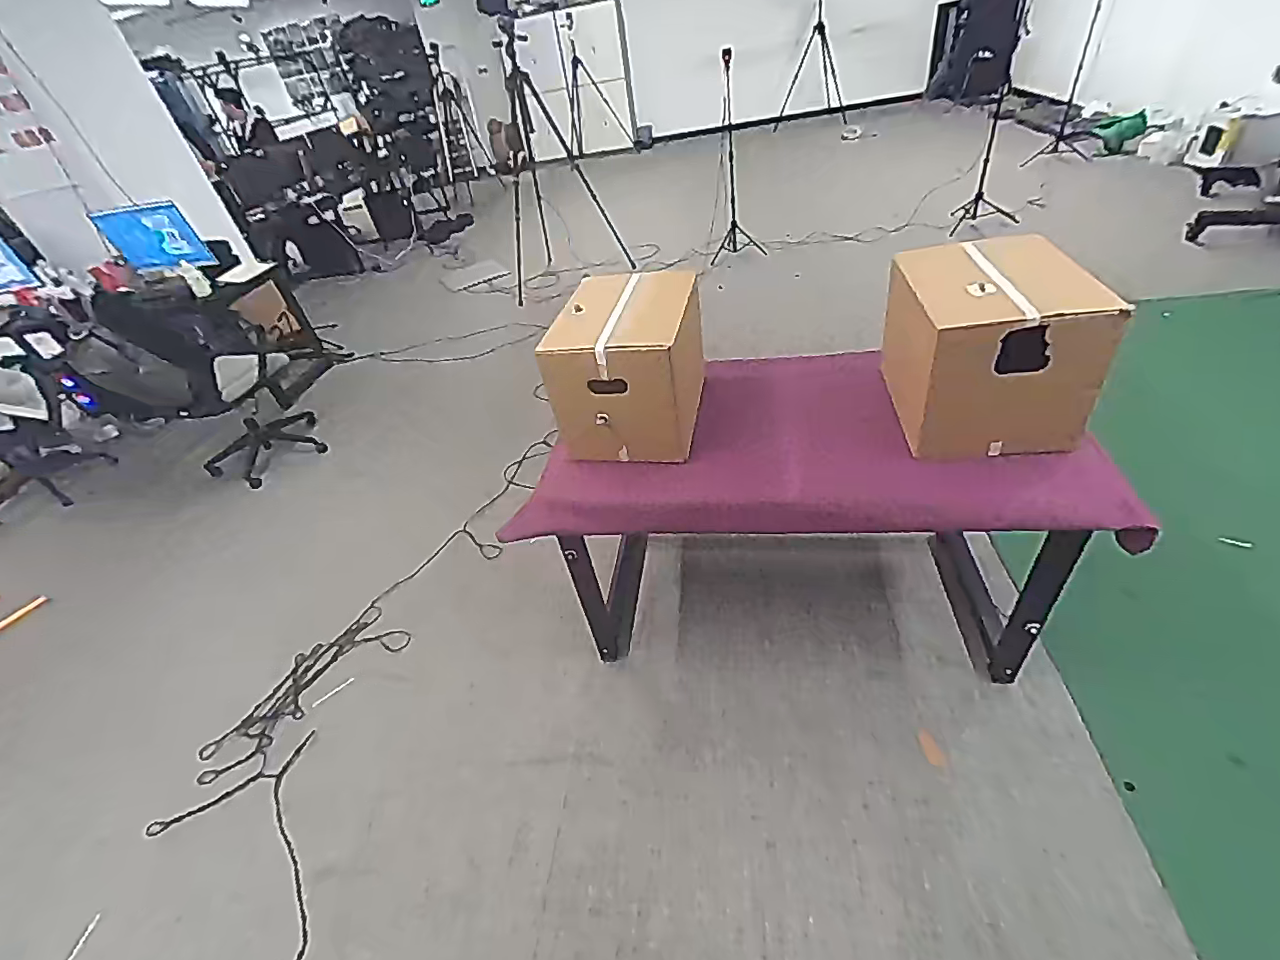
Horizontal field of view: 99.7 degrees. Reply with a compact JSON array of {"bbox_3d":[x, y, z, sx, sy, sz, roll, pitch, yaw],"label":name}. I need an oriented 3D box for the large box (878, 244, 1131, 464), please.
[{"bbox_3d":[0.746,-0.284,1.199,0.320,0.320,0.408,-4,40,13],"label":"large box"}]
